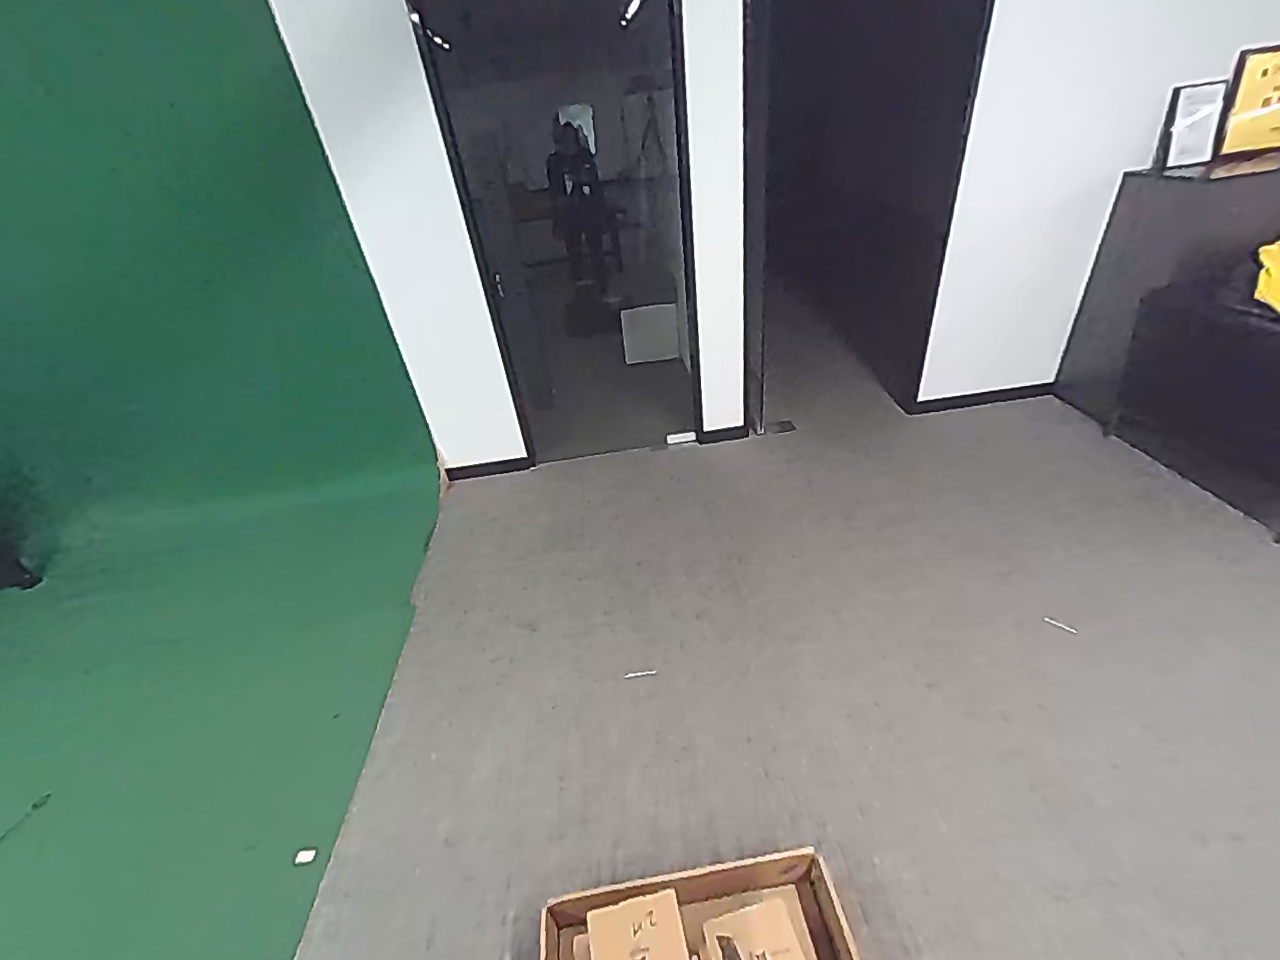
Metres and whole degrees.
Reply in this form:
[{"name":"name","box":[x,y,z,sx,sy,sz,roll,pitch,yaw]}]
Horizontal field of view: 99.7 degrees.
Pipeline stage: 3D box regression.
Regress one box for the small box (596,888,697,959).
[{"name":"small box","box":[0.021,0.878,0.965,0.168,0.176,0.179,-10,36,-7]}]

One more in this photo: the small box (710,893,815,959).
[{"name":"small box","box":[0.250,0.969,1.071,0.179,0.176,0.168,-14,35,-7]}]
